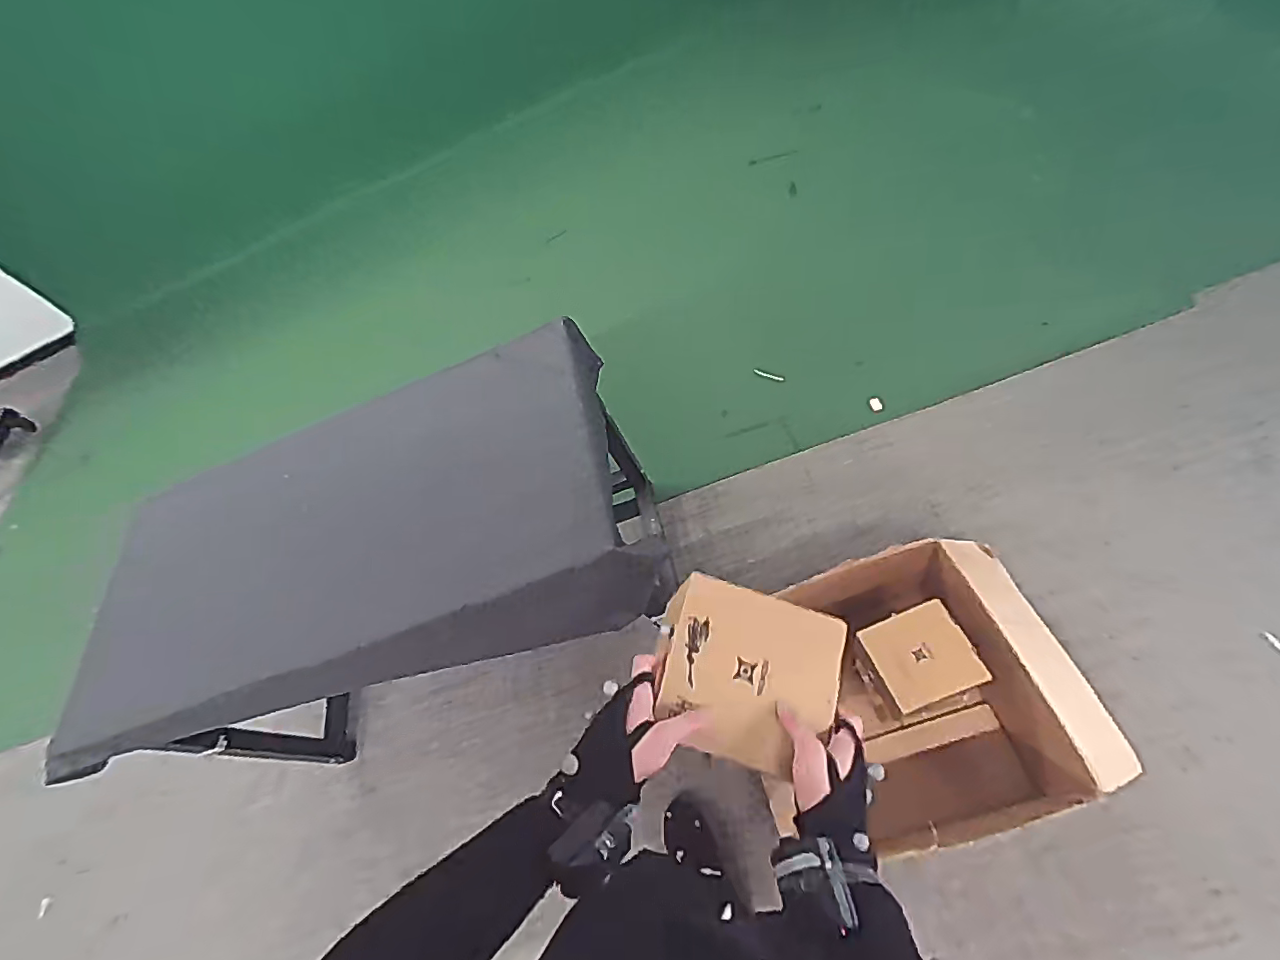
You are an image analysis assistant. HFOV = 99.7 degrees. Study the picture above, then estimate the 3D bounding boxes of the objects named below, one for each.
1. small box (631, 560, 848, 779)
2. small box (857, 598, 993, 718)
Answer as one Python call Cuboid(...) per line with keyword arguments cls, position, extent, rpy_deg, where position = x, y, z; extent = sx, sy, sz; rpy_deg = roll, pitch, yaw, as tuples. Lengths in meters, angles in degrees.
Cuboid(cls="small box", position=(0.102, 0.211, 0.612), extent=(0.179, 0.176, 0.168), rpy_deg=(20, 67, 0))
Cuboid(cls="small box", position=(0.555, 0.362, 1.085), extent=(0.179, 0.176, 0.168), rpy_deg=(-25, 58, 5))
